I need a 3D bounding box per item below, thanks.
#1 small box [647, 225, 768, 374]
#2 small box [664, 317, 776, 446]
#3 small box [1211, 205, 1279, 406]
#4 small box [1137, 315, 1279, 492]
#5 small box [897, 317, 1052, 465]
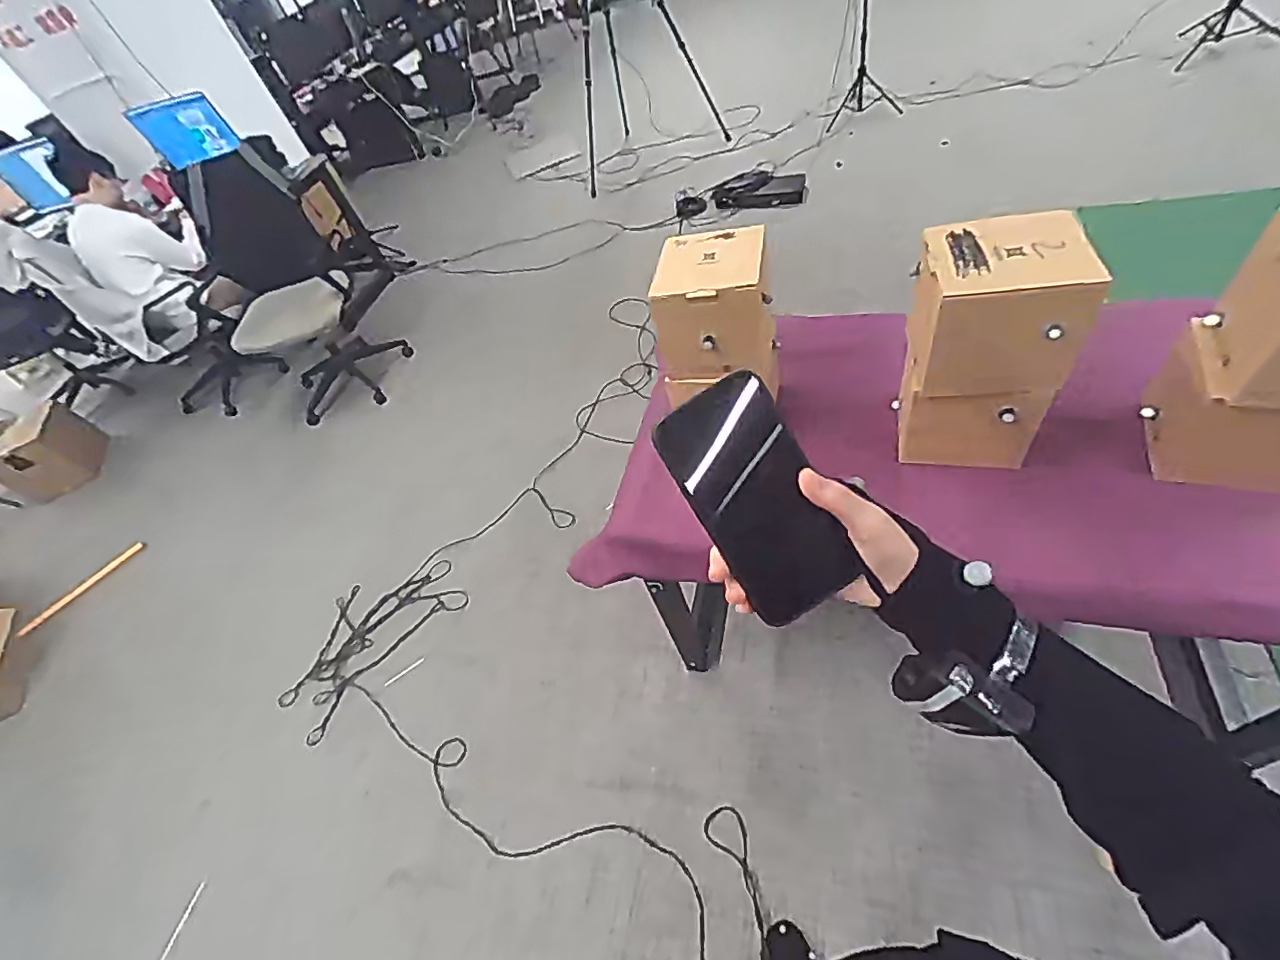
[{"bbox_3d":[0.122,-0.290,0.899,0.168,0.176,0.179,1,53,18],"label":"small box"},{"bbox_3d":[0.160,-0.182,1.017,0.168,0.176,0.179,5,53,21],"label":"small box"},{"bbox_3d":[0.795,-0.190,0.601,0.179,0.176,0.168,10,55,24],"label":"small box"},{"bbox_3d":[0.830,-0.102,0.735,0.179,0.176,0.168,10,55,25],"label":"small box"},{"bbox_3d":[0.518,-0.138,0.864,0.179,0.176,0.168,4,53,21],"label":"small box"}]
